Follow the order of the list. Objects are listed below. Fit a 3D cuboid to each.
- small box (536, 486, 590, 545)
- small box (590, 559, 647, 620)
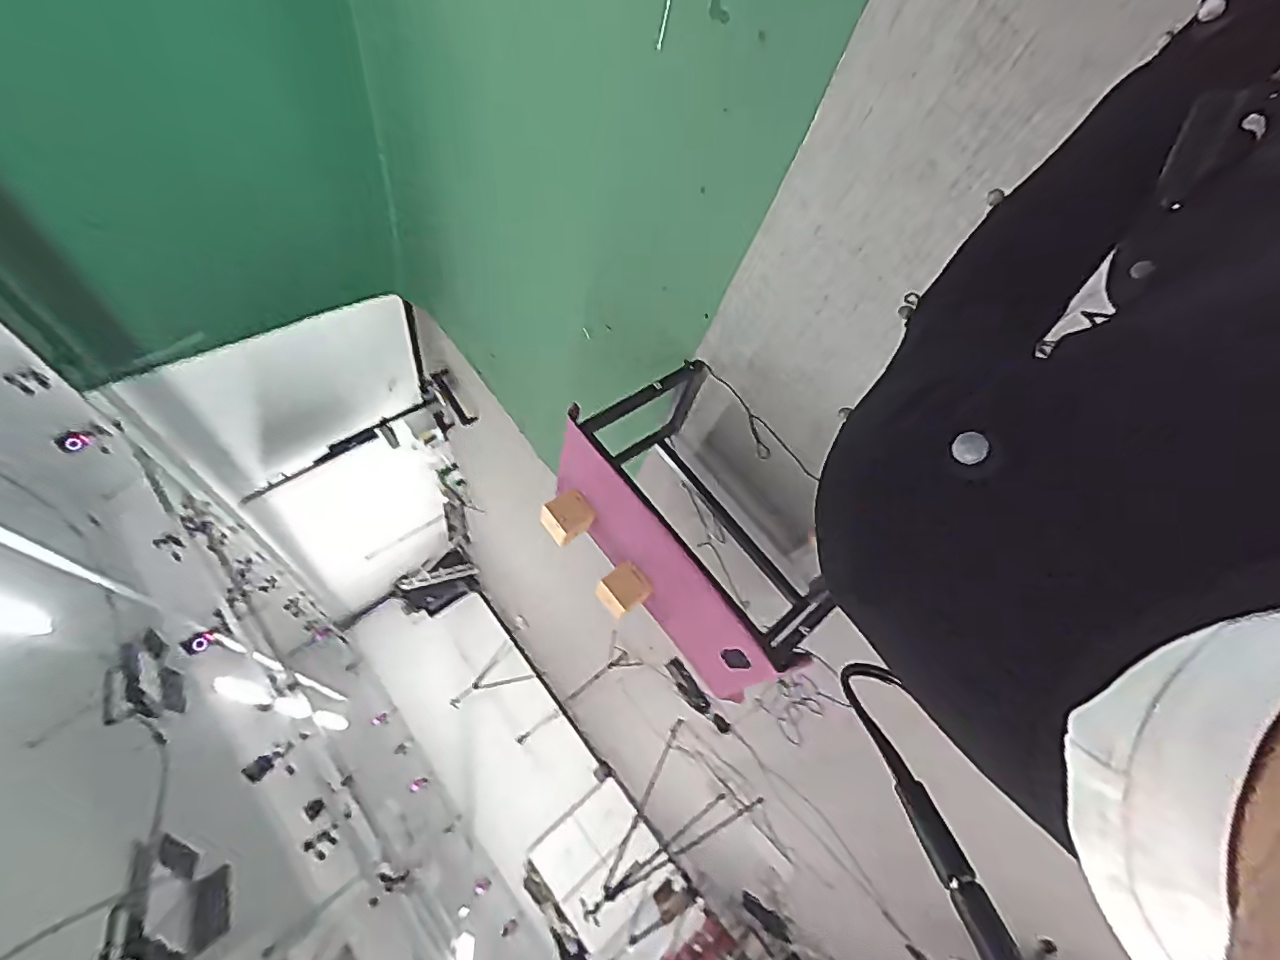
[{"bbox_3d":[-0.344,0.158,2.420,0.168,0.176,0.179,50,151,11],"label":"small box"},{"bbox_3d":[-0.091,0.473,2.342,0.168,0.176,0.179,49,150,14],"label":"small box"}]
